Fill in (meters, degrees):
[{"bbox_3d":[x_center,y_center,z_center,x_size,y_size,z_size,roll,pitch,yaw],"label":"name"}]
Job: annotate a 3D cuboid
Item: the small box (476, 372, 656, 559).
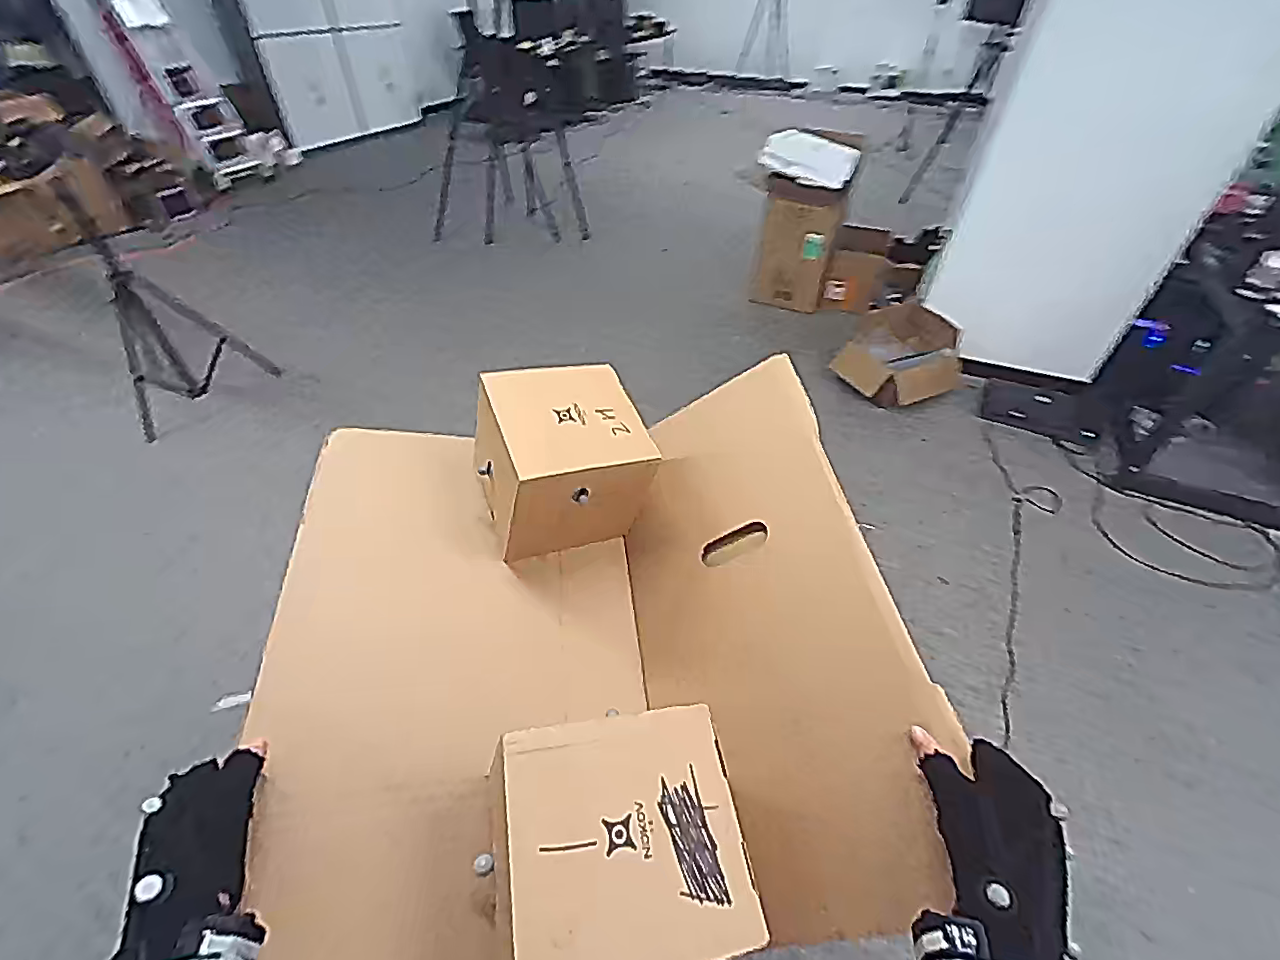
[{"bbox_3d":[-0.108,-0.017,0.696,0.179,0.176,0.168,-9,56,-28],"label":"small box"}]
